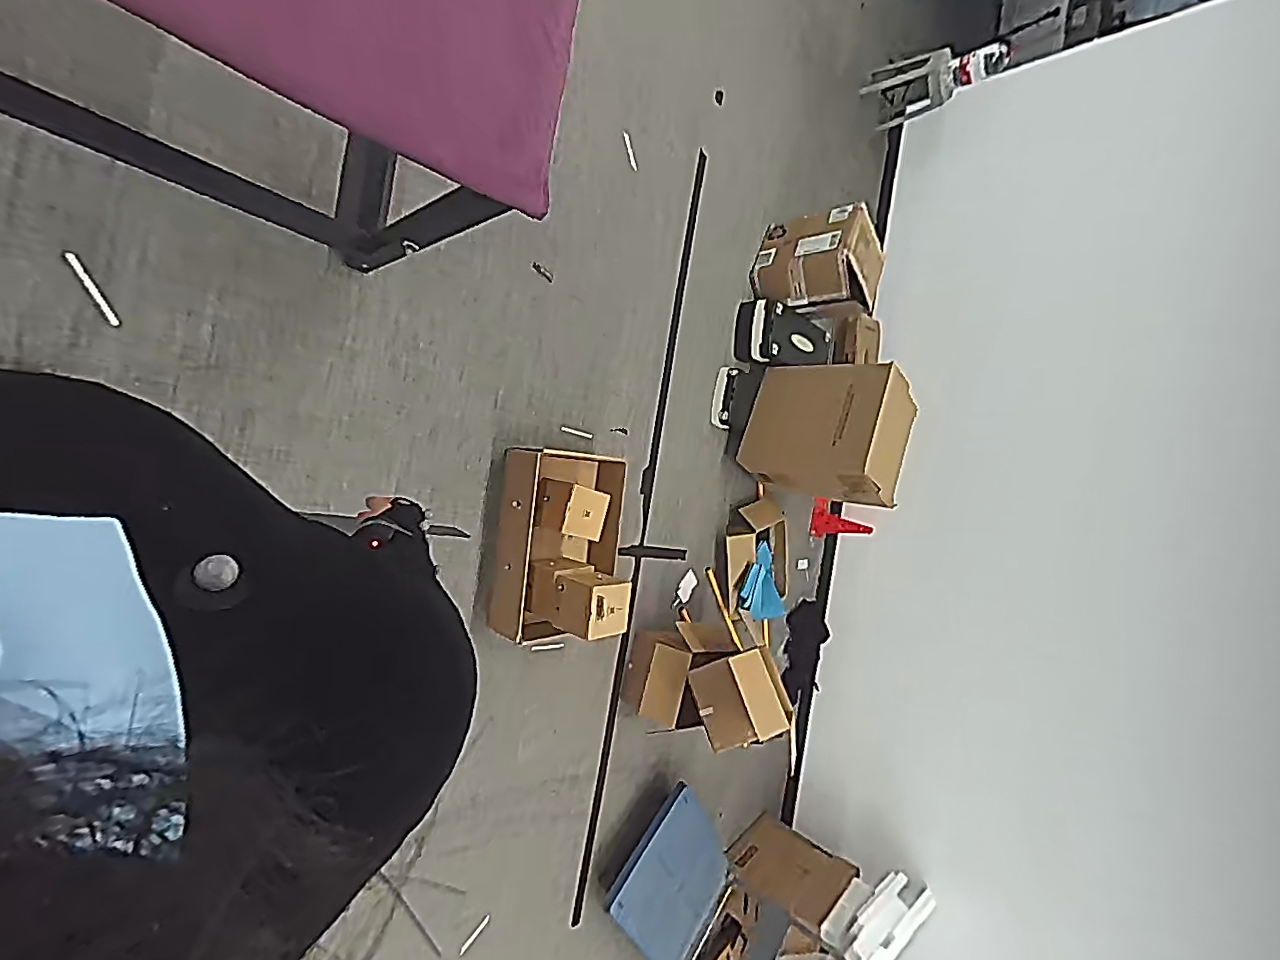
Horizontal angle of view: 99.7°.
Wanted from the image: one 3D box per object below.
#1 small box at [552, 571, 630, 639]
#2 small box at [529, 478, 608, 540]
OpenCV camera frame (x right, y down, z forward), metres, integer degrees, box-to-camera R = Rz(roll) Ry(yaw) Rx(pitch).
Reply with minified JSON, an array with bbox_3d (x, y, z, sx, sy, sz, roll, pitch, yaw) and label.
[{"bbox_3d":[-0.159,0.391,1.718,0.179,0.176,0.168,6,92,-49],"label":"small box"},{"bbox_3d":[-0.241,0.096,1.828,0.179,0.176,0.168,20,83,-48],"label":"small box"}]
